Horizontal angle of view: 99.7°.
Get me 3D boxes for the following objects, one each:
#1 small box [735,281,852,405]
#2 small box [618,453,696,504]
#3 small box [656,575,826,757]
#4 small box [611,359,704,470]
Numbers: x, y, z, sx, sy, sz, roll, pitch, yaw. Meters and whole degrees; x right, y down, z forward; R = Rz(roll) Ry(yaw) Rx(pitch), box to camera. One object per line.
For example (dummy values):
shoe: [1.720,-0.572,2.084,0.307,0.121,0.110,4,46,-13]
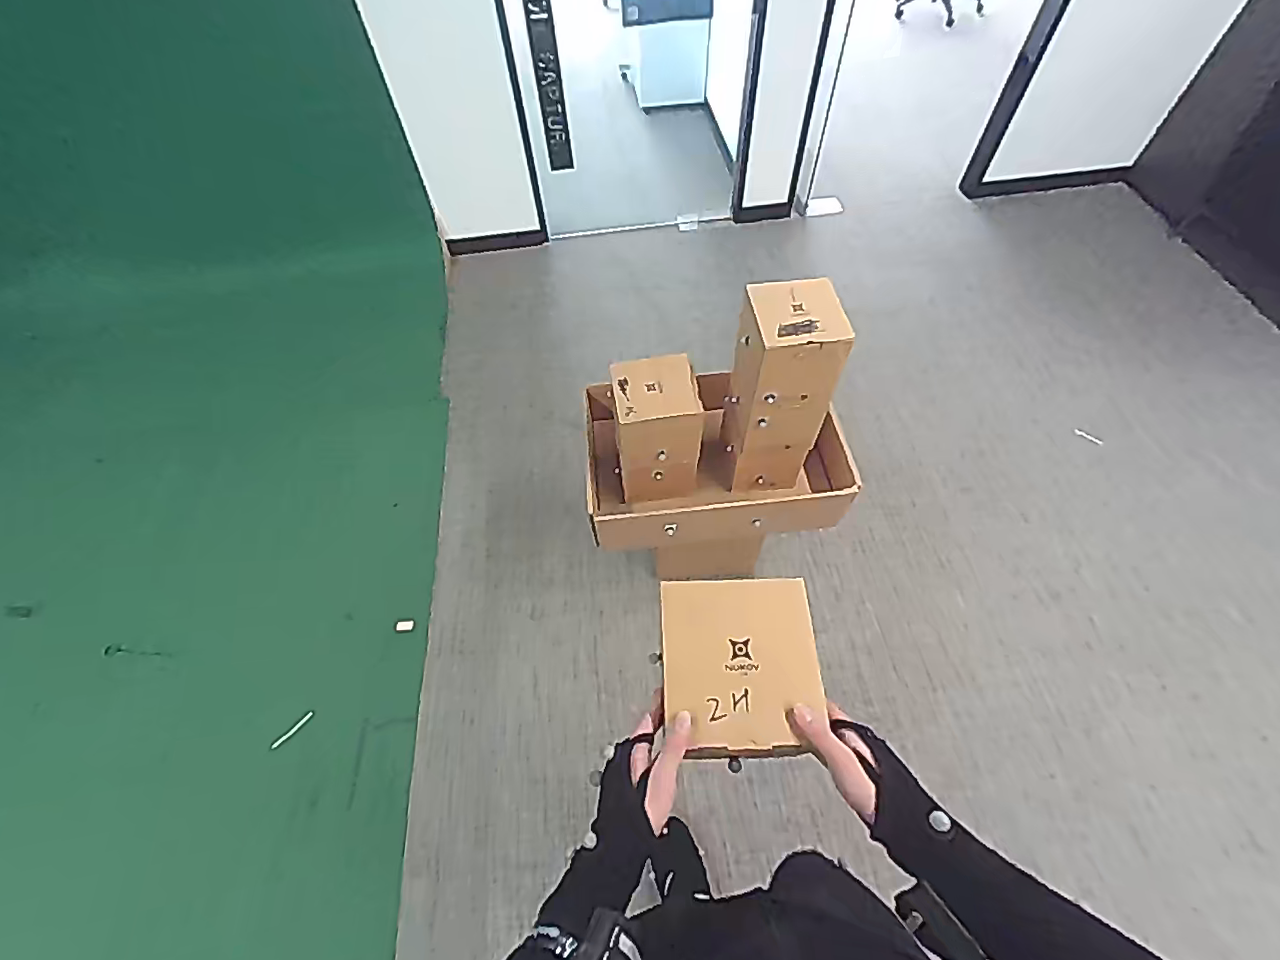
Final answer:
small box: [0.290,-0.261,1.064,0.168,0.176,0.179,-5,56,-2]
small box: [0.036,-0.052,1.328,0.179,0.176,0.168,-6,57,-3]
small box: [0.103,0.225,0.643,0.168,0.176,0.179,-1,60,1]
small box: [0.033,-0.141,1.190,0.179,0.176,0.168,-8,57,-4]
